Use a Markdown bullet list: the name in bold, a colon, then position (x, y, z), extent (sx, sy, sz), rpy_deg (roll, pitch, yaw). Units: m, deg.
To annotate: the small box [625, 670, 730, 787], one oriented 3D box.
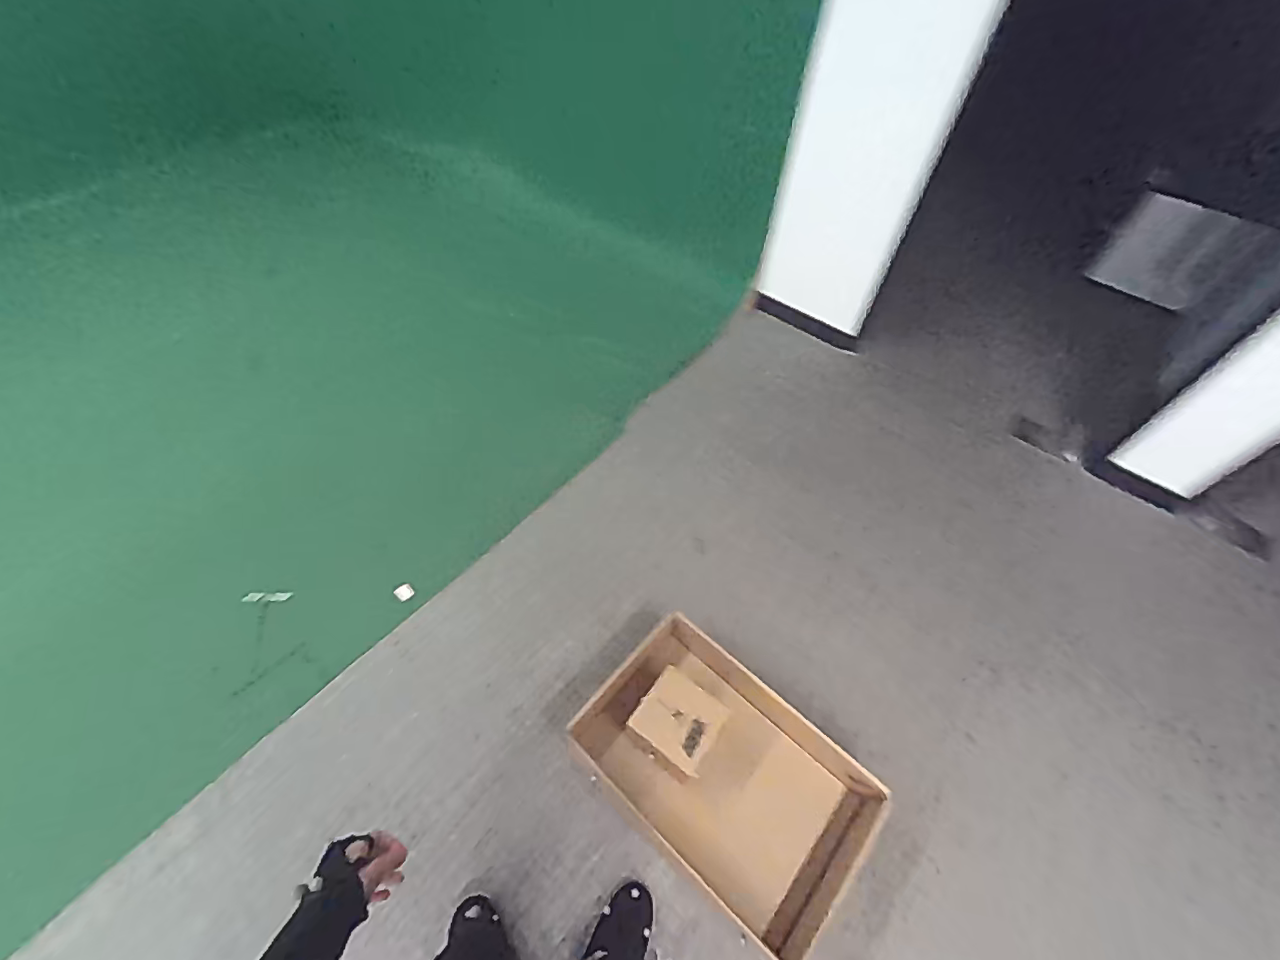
- **small box**: position (0.084, 0.579, 1.249), extent (0.179, 0.176, 0.168), rpy_deg (32, 59, 23)
